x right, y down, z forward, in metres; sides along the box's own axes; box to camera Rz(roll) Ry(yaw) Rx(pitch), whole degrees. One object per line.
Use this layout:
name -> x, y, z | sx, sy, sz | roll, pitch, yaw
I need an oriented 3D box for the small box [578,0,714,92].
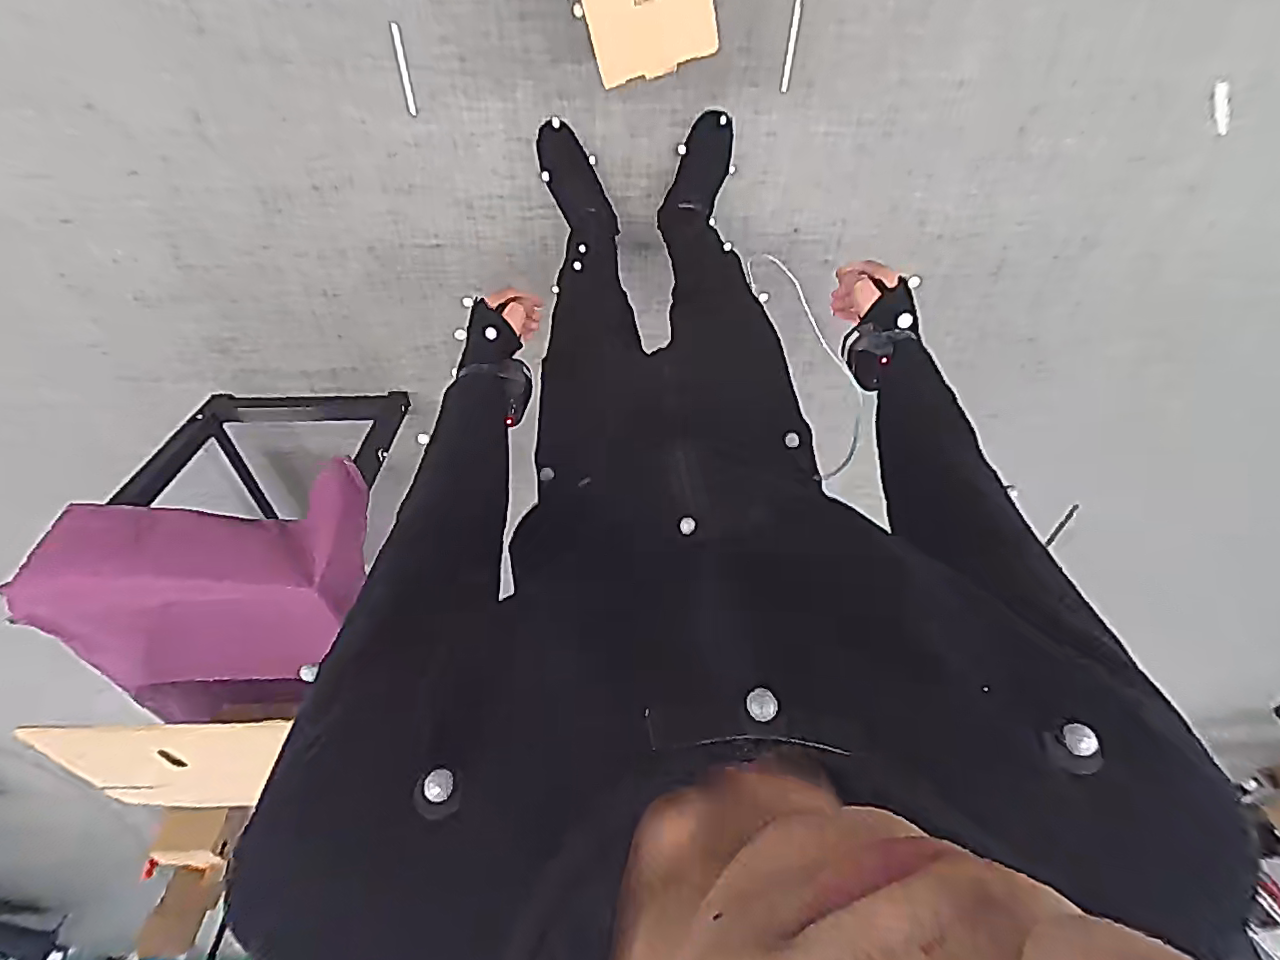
small box -> -0.001, -0.675, 0.747 | 0.168, 0.176, 0.179 | -13, 133, 7
